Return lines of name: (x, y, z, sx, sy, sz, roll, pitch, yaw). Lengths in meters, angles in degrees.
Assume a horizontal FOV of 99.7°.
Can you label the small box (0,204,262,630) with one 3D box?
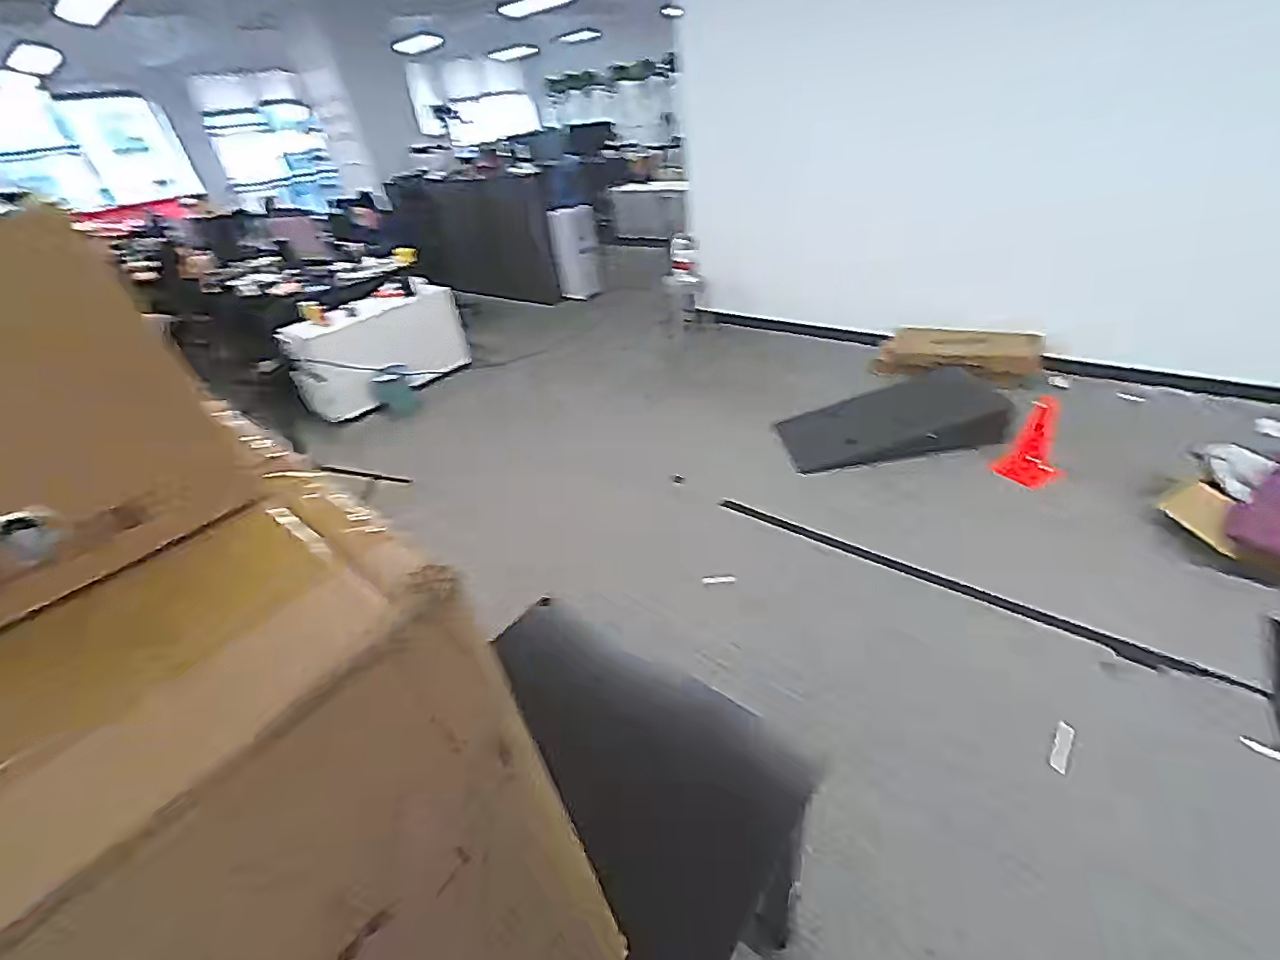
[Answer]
small box: (-0.357, -0.039, 0.296, 0.179, 0.176, 0.168, 21, 47, 37)
